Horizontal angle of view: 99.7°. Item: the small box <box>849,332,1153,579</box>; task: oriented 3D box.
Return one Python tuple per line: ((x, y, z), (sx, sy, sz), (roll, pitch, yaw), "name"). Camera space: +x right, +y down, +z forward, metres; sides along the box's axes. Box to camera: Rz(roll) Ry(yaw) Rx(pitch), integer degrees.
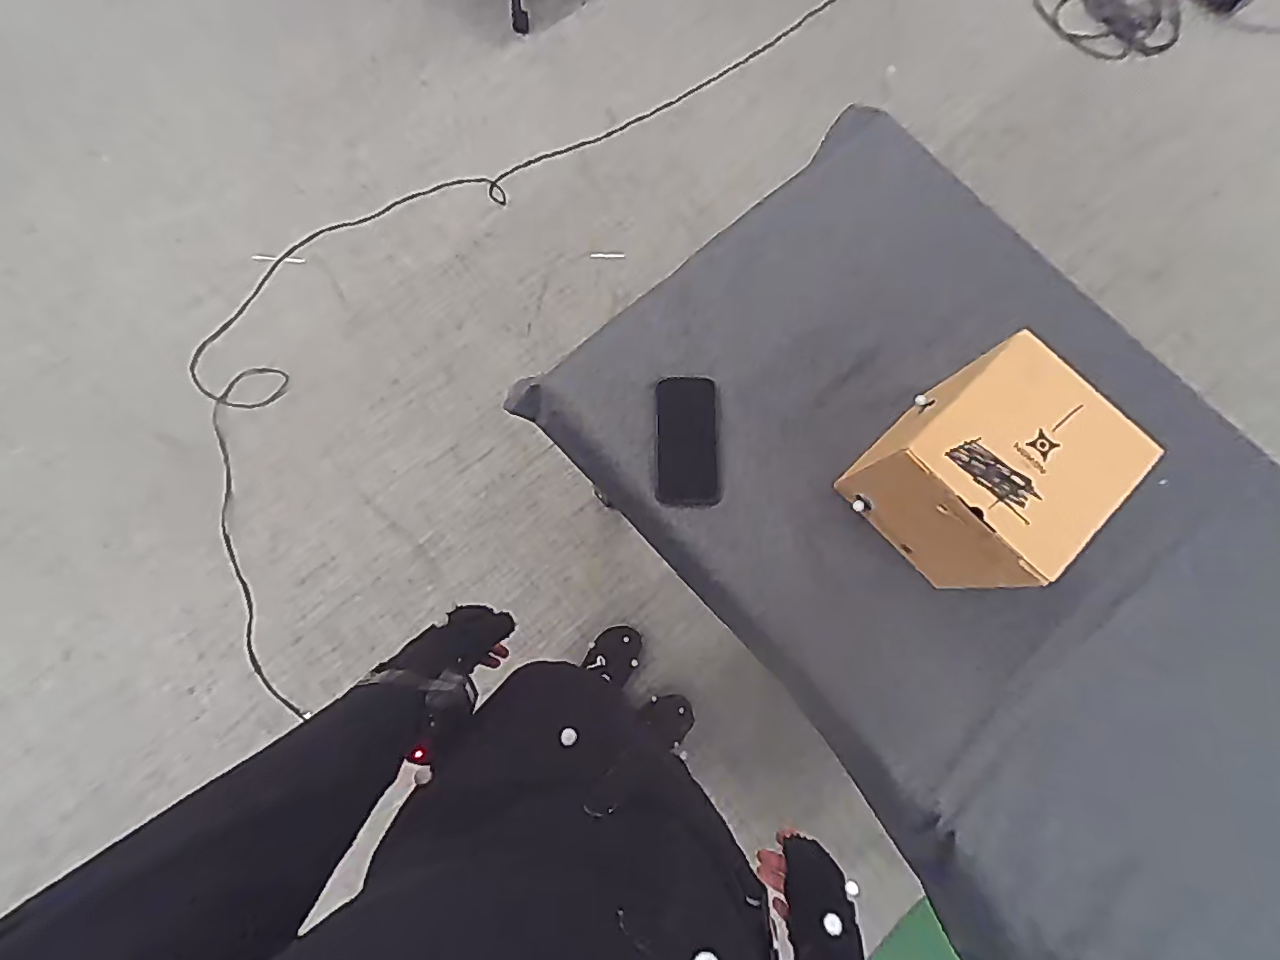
((0.349, -0.011, 0.566), (0.179, 0.176, 0.168), (-42, 83, -10), "small box")
